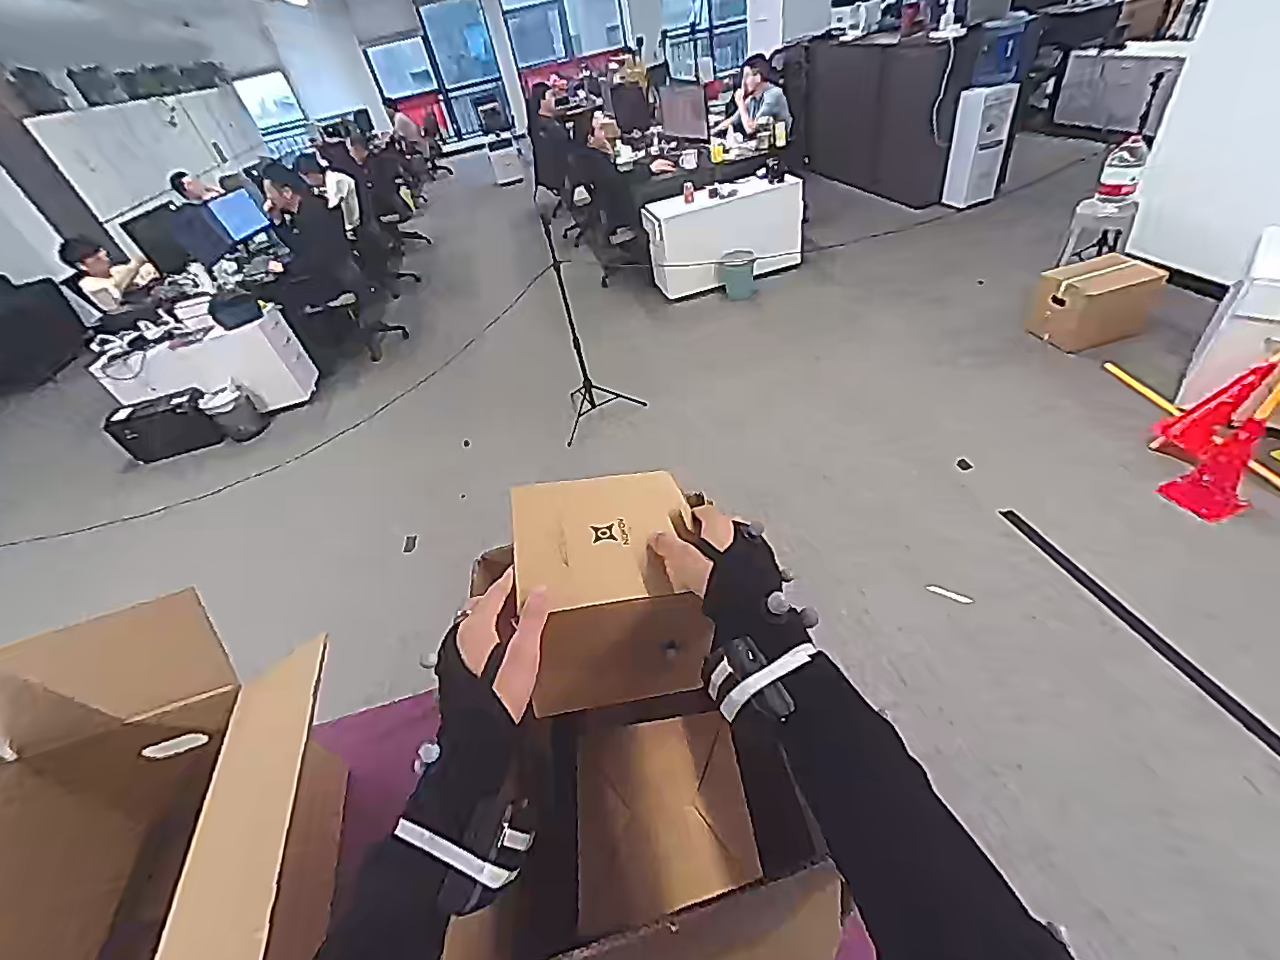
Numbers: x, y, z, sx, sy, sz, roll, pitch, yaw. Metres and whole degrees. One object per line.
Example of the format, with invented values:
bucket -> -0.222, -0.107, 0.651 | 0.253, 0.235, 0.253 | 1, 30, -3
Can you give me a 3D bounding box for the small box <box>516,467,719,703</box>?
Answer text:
small box -> -0.032, 0.108, 0.566 | 0.179, 0.176, 0.168 | -6, 40, -9
